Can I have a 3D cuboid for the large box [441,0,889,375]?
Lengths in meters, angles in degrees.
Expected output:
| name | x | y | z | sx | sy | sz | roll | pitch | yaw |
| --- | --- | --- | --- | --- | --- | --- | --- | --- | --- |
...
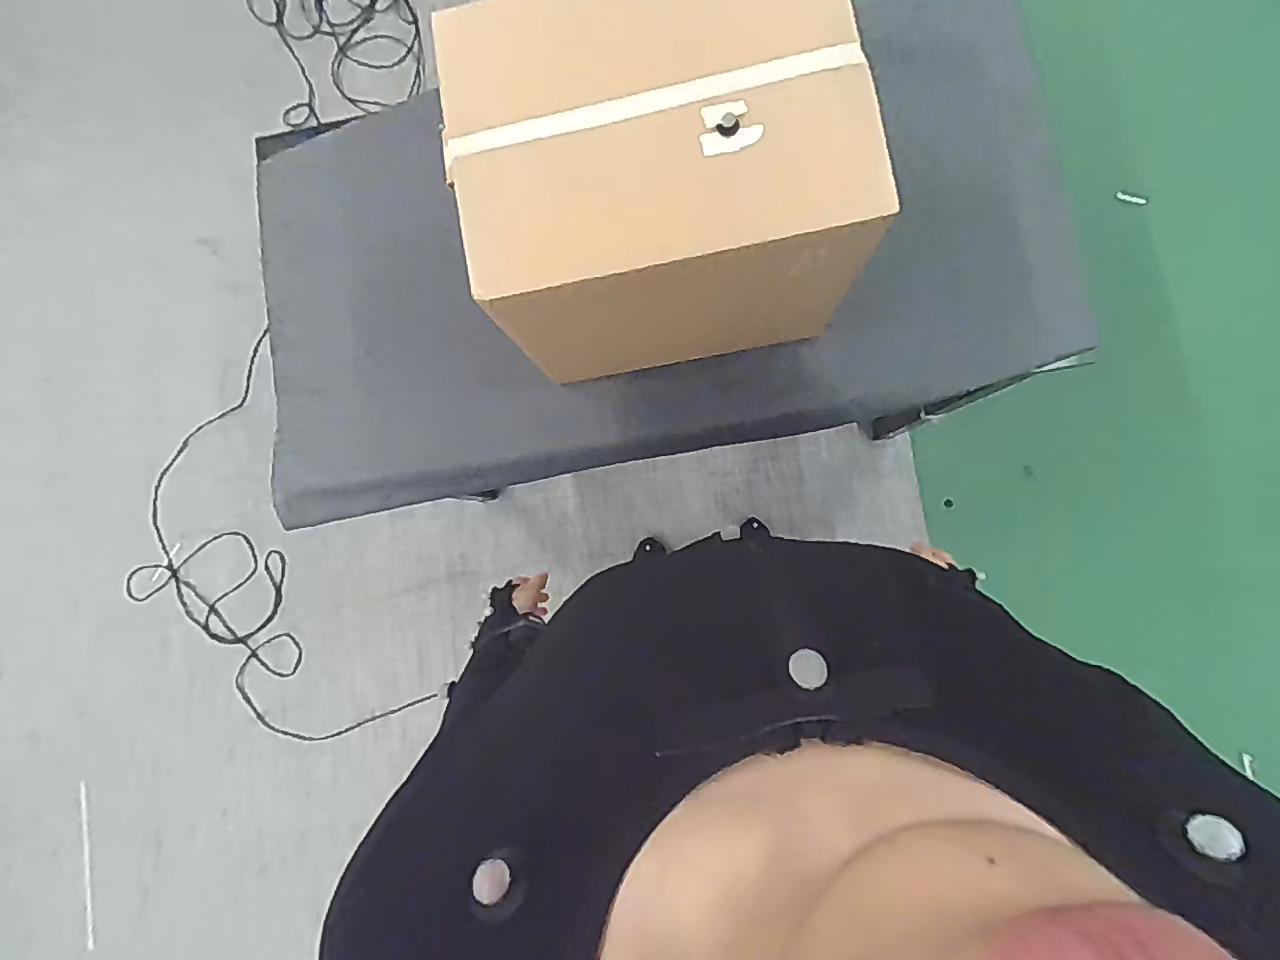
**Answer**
| name | x | y | z | sx | sy | sz | roll | pitch | yaw |
| --- | --- | --- | --- | --- | --- | --- | --- | --- | --- |
| large box | 0.024 | -0.355 | 0.677 | 0.408 | 0.320 | 0.320 | -10 | 85 | 4 |
